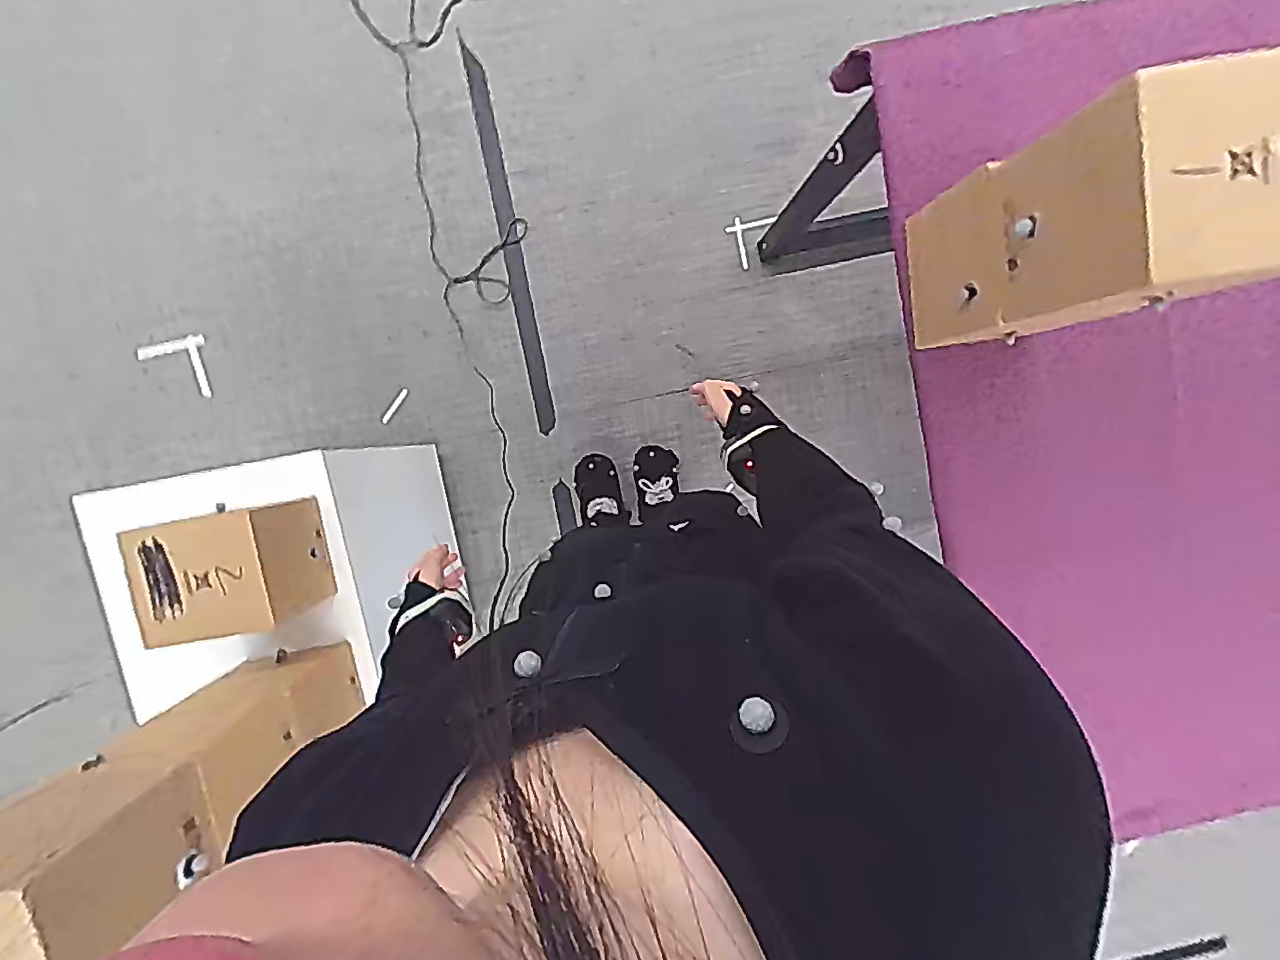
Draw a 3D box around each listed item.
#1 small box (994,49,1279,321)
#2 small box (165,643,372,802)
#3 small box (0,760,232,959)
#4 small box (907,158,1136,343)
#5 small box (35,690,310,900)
[{"bbox_3d":[0.472,-0.255,0.502,0.179,0.176,0.168,-9,95,-1],"label":"small box"},{"bbox_3d":[-0.541,0.364,0.810,0.179,0.176,0.168,-11,96,0],"label":"small box"},{"bbox_3d":[-0.528,0.389,0.487,0.179,0.176,0.168,-13,96,-2],"label":"small box"},{"bbox_3d":[0.455,-0.271,0.665,0.168,0.176,0.179,-8,95,-2],"label":"small box"},{"bbox_3d":[-0.532,0.377,0.649,0.179,0.176,0.168,-12,95,-1],"label":"small box"}]
